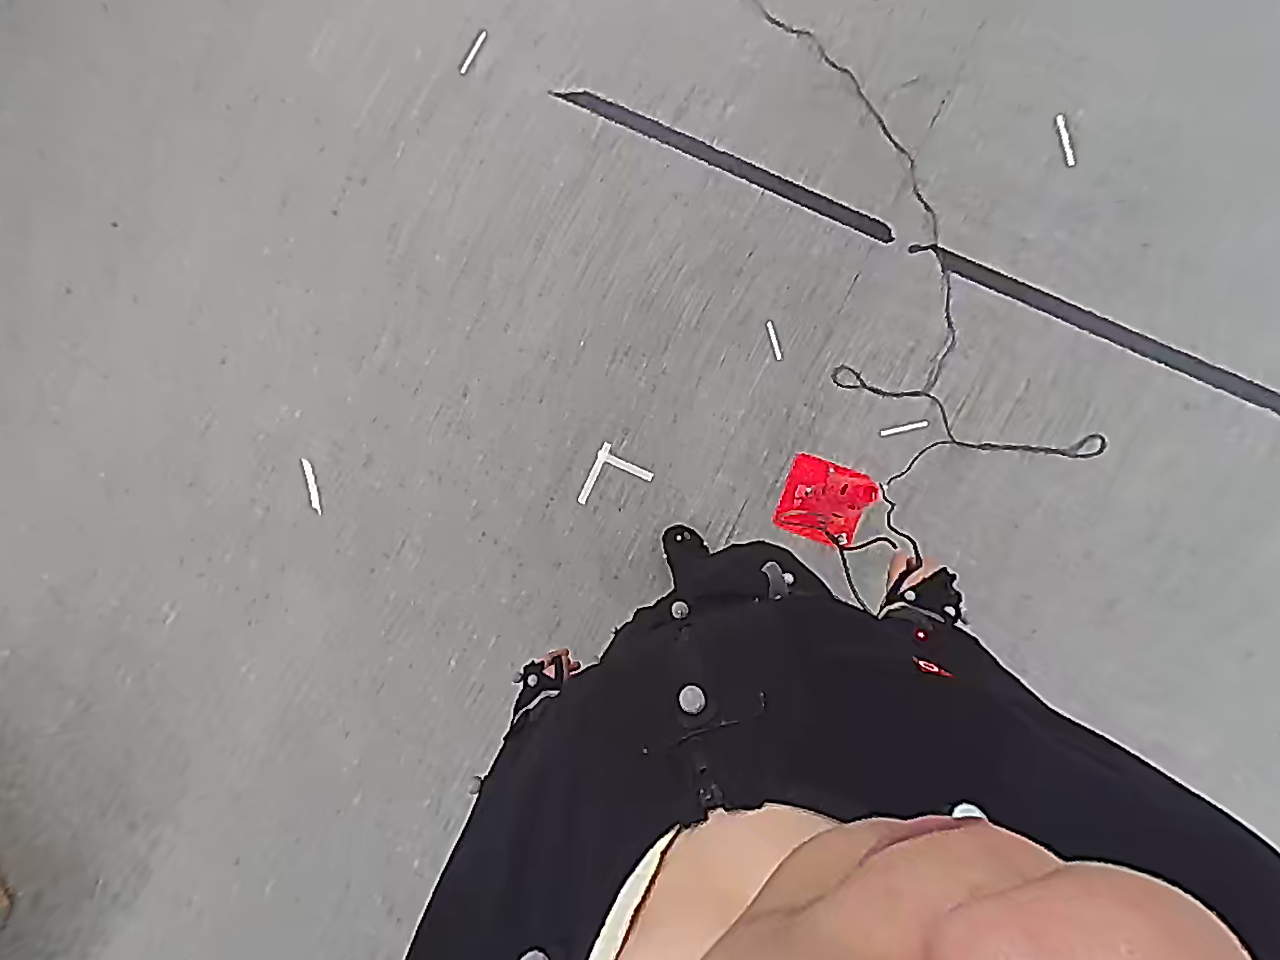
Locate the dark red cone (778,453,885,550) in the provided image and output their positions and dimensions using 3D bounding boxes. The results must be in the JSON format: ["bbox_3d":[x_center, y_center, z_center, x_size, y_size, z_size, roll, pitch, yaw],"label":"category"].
[{"bbox_3d":[0.438,0.032,1.154,0.202,0.394,0.201,19,85,7],"label":"dark red cone"}]
